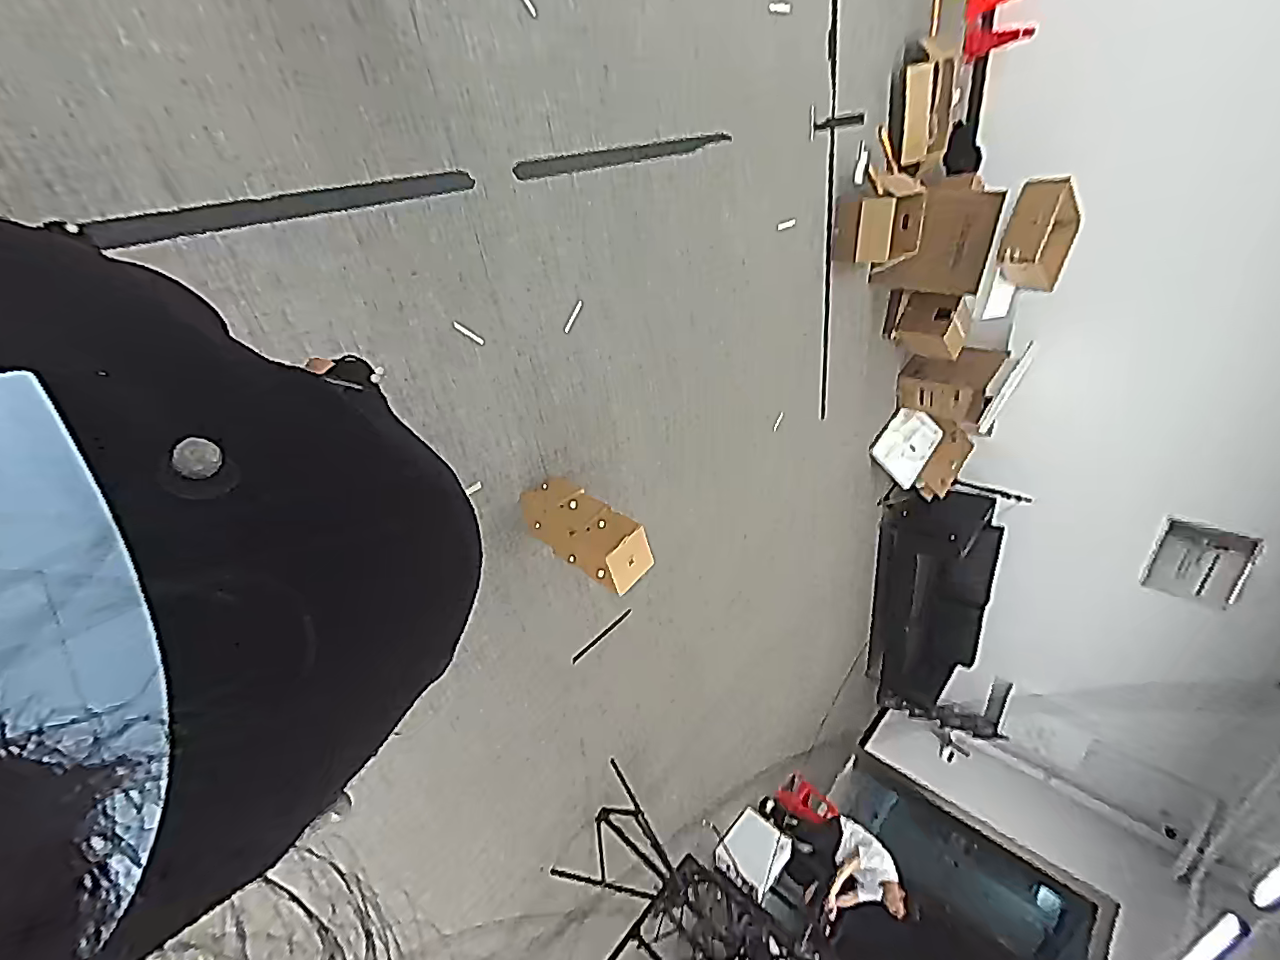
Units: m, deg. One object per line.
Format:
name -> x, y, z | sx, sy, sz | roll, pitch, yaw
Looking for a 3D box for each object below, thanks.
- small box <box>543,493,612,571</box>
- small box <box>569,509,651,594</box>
small box -> -0.203, 0.169, 1.816 | 0.168, 0.176, 0.179 | -31, 127, -37
small box -> -0.096, 0.221, 1.704 | 0.168, 0.176, 0.179 | -41, 132, -29
